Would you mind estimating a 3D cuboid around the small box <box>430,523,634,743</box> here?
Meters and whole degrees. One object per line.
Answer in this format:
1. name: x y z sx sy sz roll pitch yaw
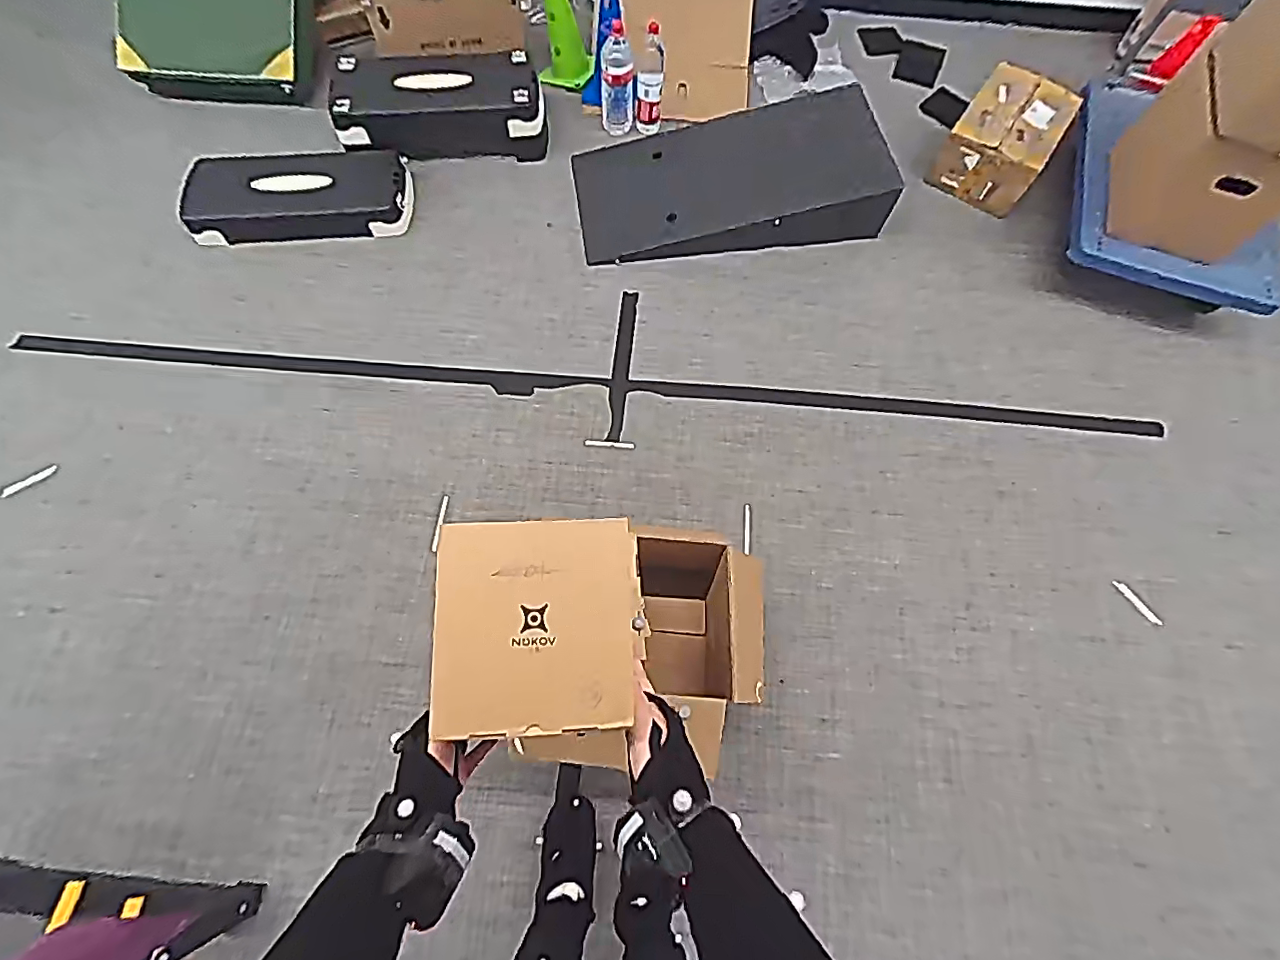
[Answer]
1. small box: -0.092 0.142 0.527 0.168 0.176 0.179 0 75 -5
